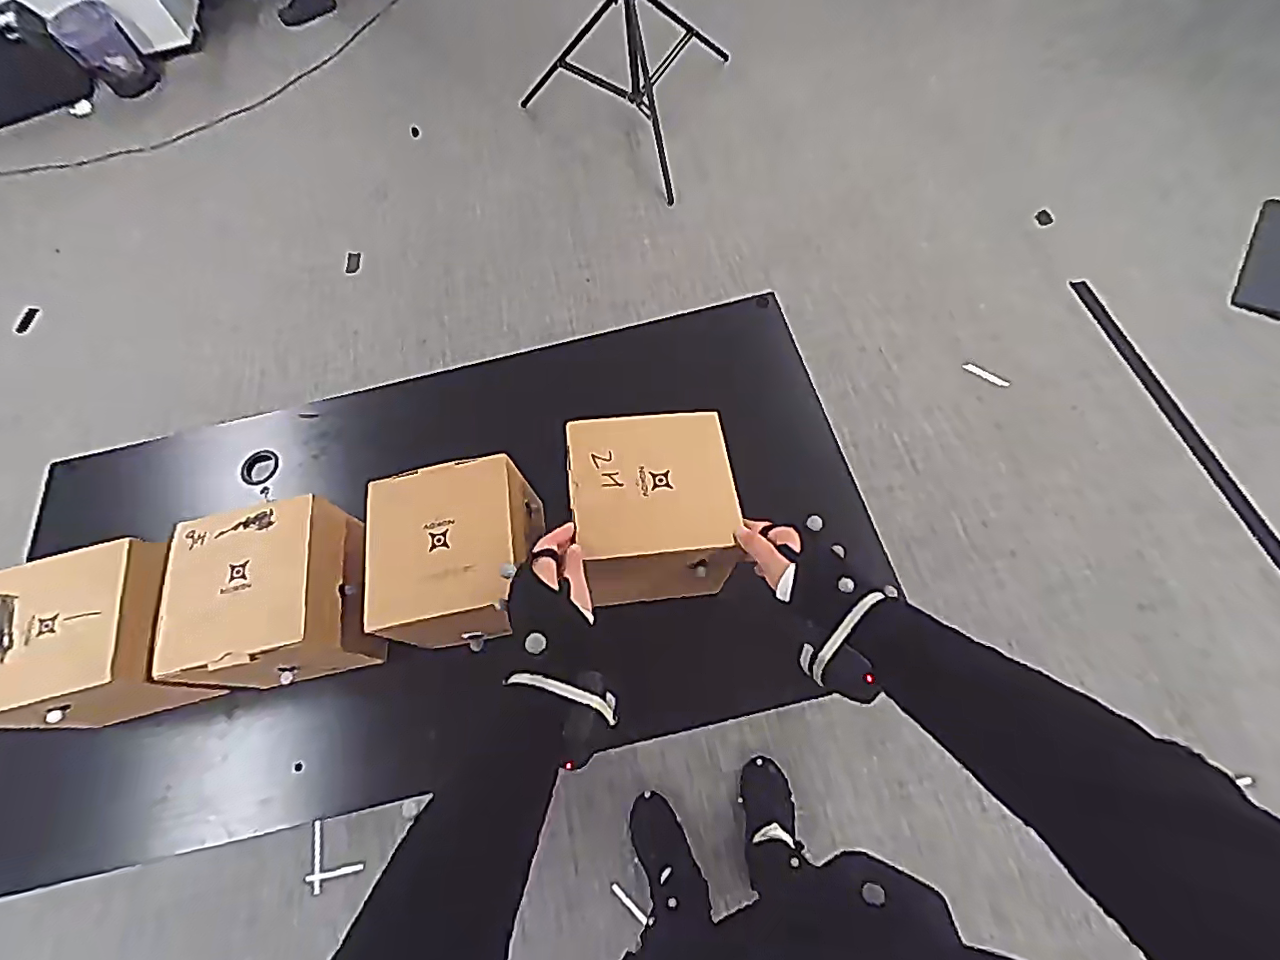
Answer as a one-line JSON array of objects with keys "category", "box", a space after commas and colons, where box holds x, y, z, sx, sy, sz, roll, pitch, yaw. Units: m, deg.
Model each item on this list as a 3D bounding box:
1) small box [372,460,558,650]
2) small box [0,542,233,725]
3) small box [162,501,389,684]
[{"category": "small box", "box": [-0.209, 0.101, 0.673, 0.168, 0.176, 0.179, -13, 66, 1]}, {"category": "small box", "box": [-0.639, 0.198, 0.670, 0.179, 0.176, 0.168, -15, 65, -2]}, {"category": "small box", "box": [-0.429, 0.149, 0.672, 0.168, 0.176, 0.179, -13, 65, 1]}]
